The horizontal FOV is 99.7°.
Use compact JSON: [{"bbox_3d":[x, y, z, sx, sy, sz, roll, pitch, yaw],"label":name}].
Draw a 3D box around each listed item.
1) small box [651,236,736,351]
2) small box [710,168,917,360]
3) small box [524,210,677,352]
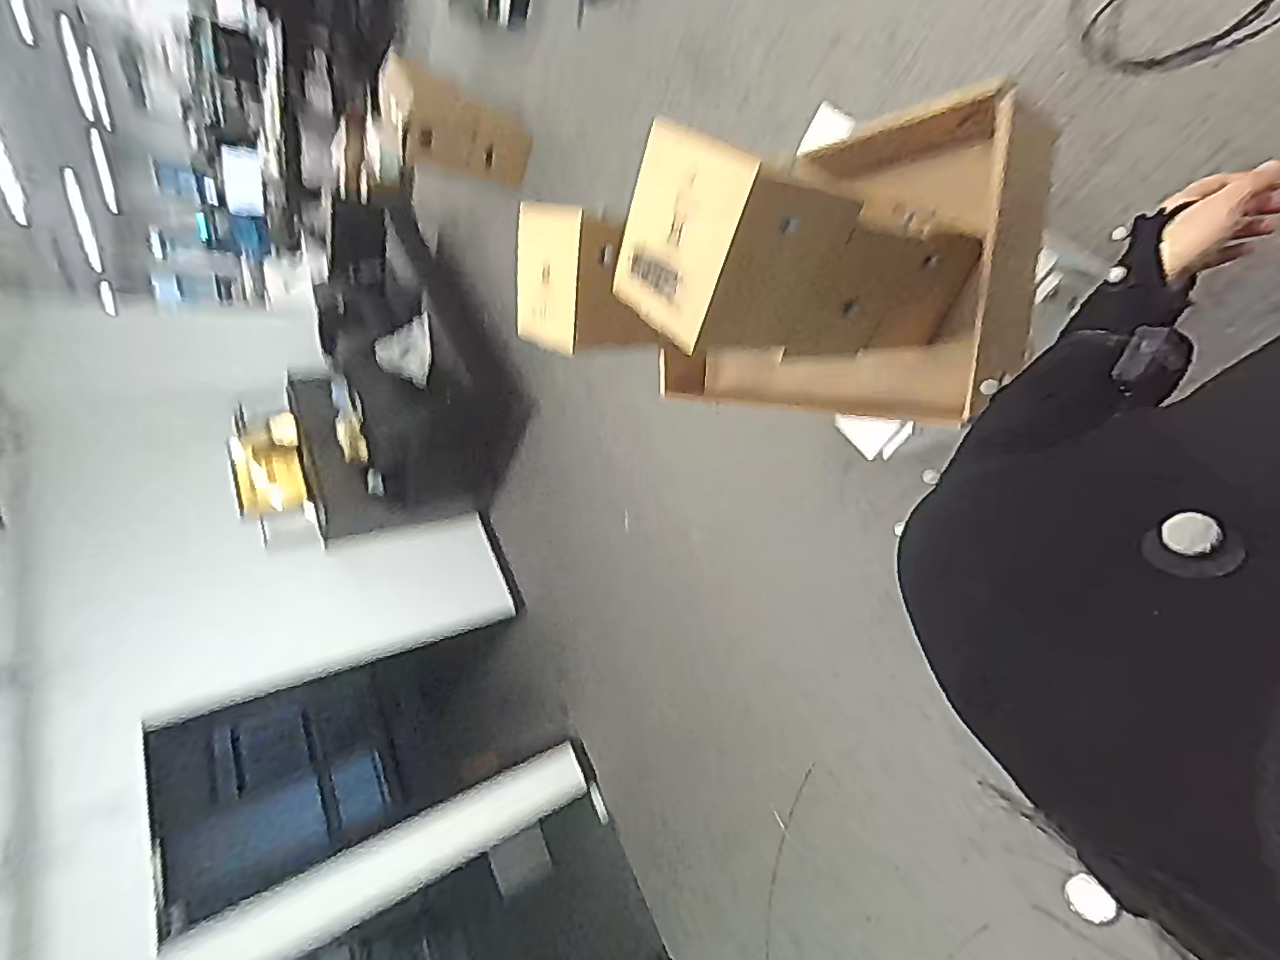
[{"bbox_3d":[0.056,-0.328,0.938,0.179,0.176,0.168,34,126,41],"label":"small box"},{"bbox_3d":[0.230,-0.282,0.719,0.168,0.176,0.179,54,139,32],"label":"small box"},{"bbox_3d":[-0.062,-0.302,0.824,0.168,0.176,0.179,31,124,44],"label":"small box"}]
